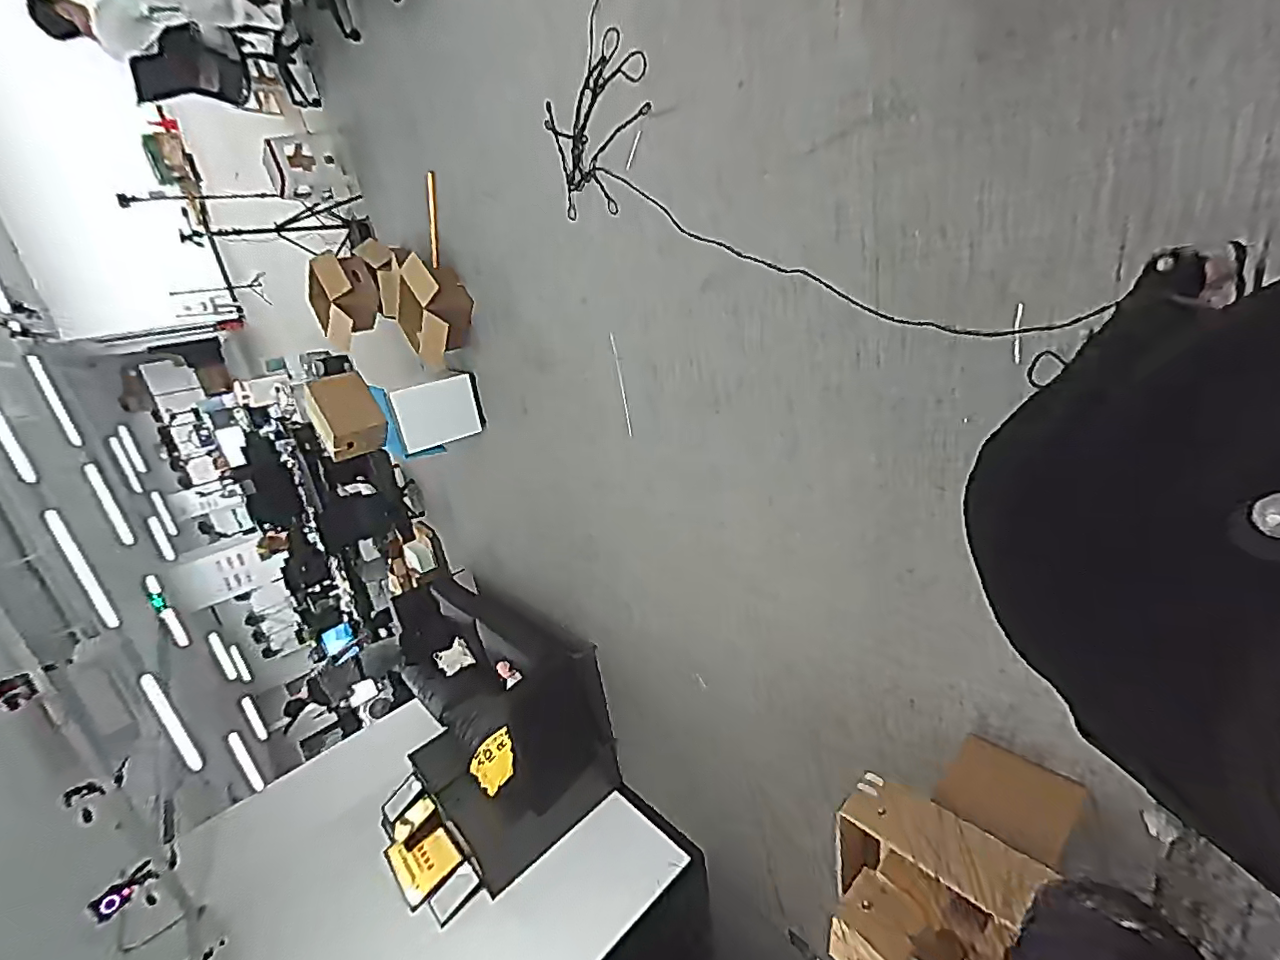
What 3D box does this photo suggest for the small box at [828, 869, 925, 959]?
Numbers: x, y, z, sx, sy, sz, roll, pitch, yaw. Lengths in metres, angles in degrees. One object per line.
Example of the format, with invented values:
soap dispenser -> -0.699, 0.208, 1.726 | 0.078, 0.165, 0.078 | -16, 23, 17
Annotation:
small box -> 0.600, 1.149, 1.371 | 0.168, 0.176, 0.179 | 22, 125, 45

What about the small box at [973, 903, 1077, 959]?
small box -> 0.905, 1.171, 1.273 | 0.168, 0.176, 0.179 | 10, 117, 48
